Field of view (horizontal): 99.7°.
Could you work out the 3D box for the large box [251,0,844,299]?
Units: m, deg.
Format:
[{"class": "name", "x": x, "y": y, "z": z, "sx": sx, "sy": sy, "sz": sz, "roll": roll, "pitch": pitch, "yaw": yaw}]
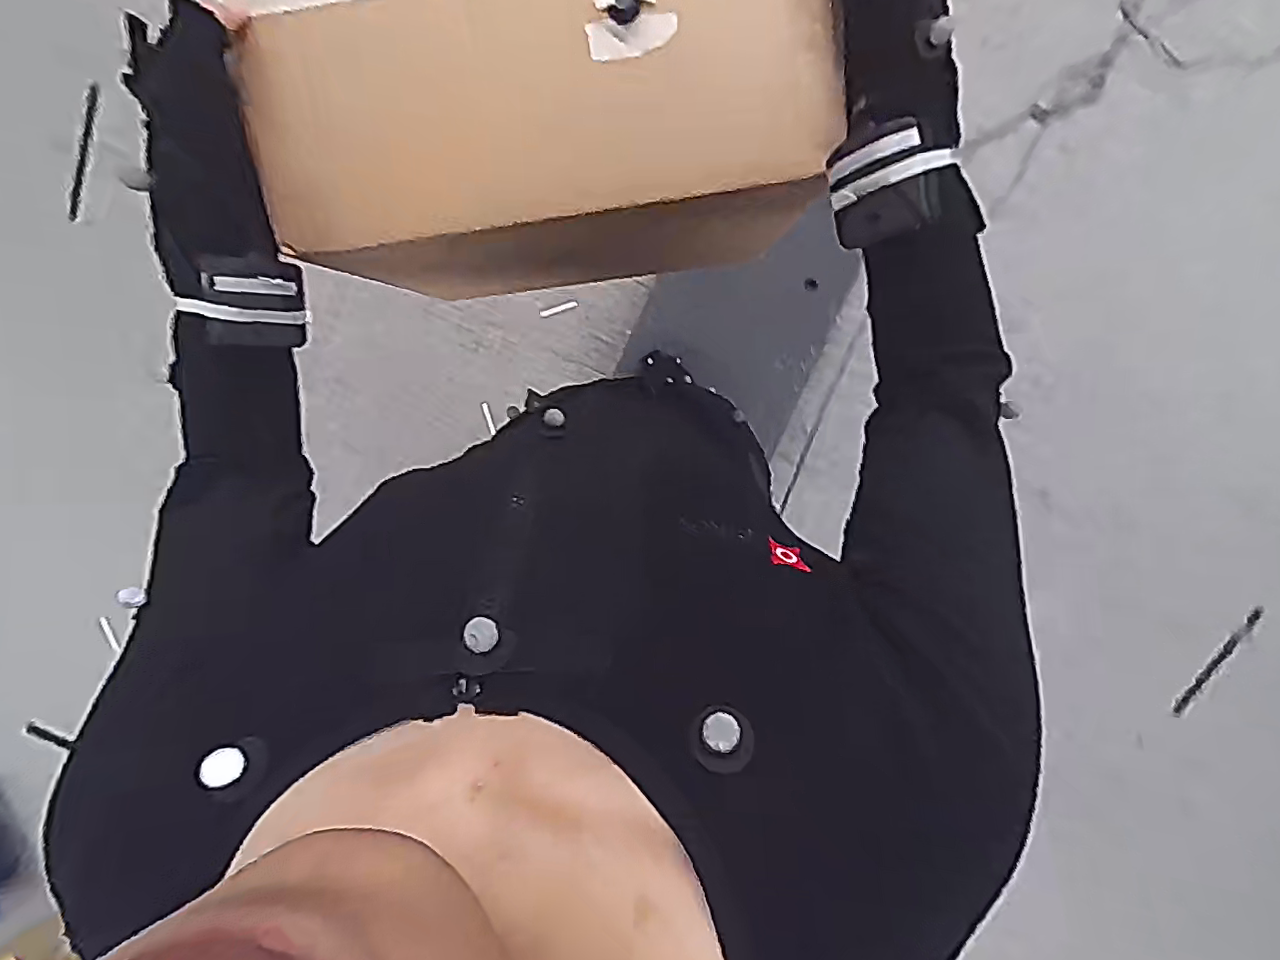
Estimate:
[{"class": "large box", "x": -0.069, "y": -0.374, "z": 0.508, "sx": 0.408, "sy": 0.320, "sz": 0.320, "roll": -6, "pitch": 102, "yaw": 3}]
